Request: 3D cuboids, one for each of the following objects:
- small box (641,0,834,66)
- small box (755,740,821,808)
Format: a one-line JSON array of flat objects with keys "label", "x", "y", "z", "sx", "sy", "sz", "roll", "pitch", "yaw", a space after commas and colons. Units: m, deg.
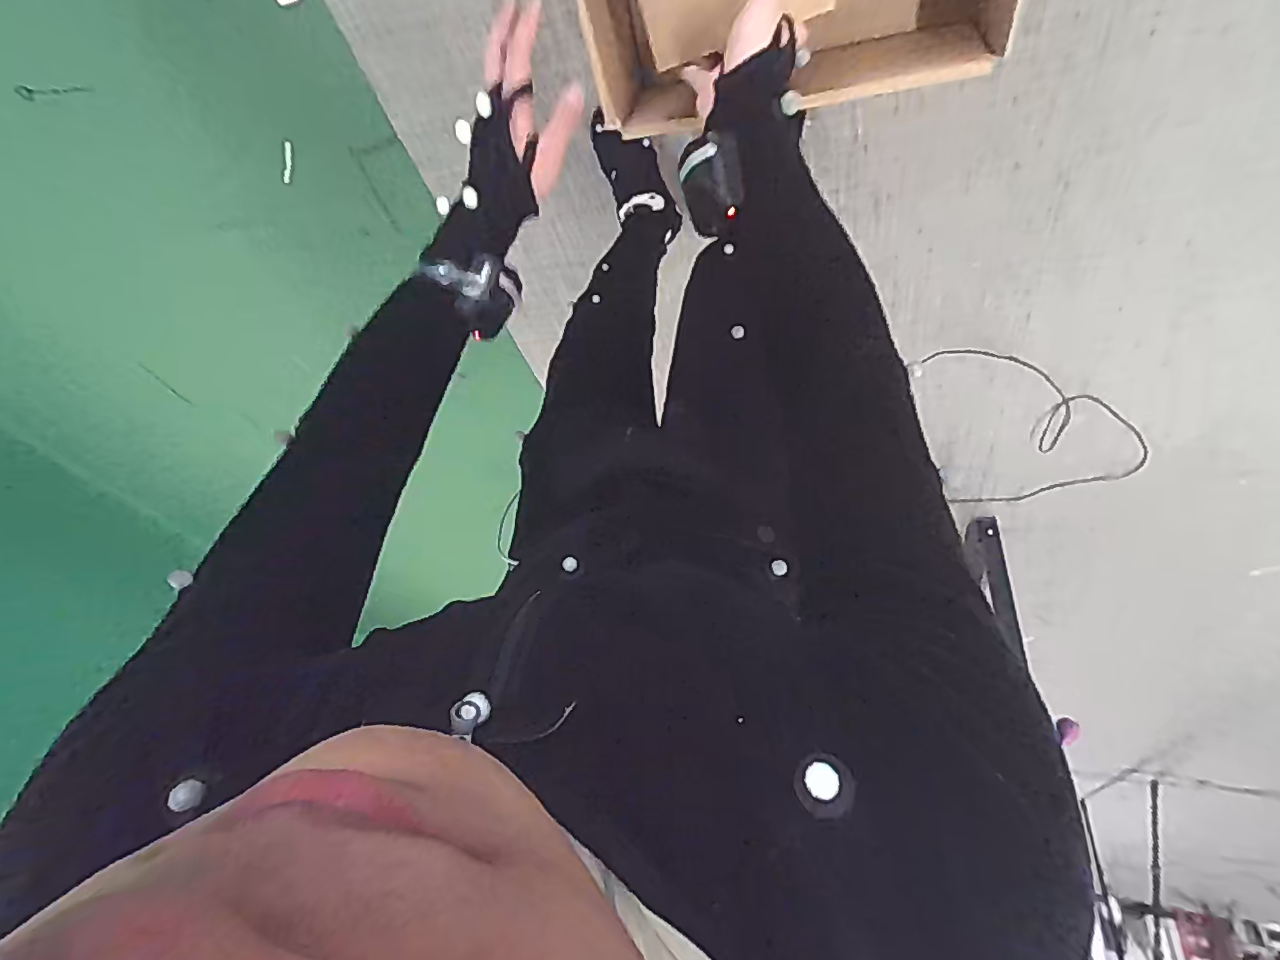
[{"label": "small box", "x": 0.082, "y": -0.516, "z": 0.475, "sx": 0.168, "sy": 0.176, "sz": 0.179, "roll": -4, "pitch": 139, "yaw": 23}, {"label": "small box", "x": 0.514, "y": 1.012, "z": 1.869, "sx": 0.168, "sy": 0.176, "sz": 0.179, "roll": -16, "pitch": 135, "yaw": 36}]
